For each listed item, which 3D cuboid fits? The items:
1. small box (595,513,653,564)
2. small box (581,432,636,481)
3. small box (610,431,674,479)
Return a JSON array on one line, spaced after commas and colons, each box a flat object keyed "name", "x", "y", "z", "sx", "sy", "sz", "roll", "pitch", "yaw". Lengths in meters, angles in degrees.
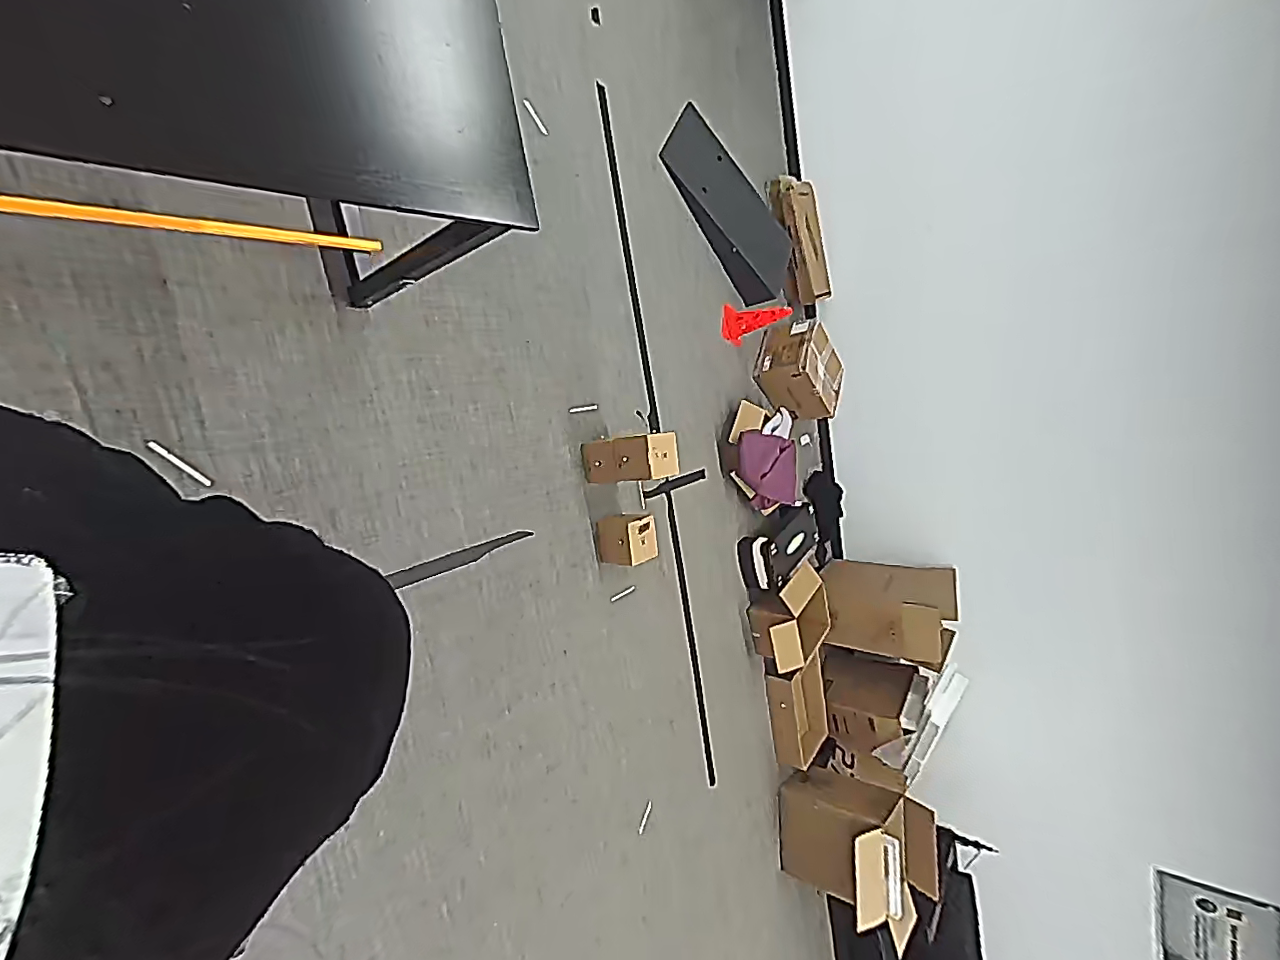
[{"name": "small box", "x": -0.069, "y": 0.234, "z": 2.217, "sx": 0.168, "sy": 0.176, "sz": 0.179, "roll": -15, "pitch": 101, "yaw": -49}, {"name": "small box", "x": -0.121, "y": -0.092, "z": 2.164, "sx": 0.179, "sy": 0.176, "sz": 0.168, "roll": -20, "pitch": 104, "yaw": -48}, {"name": "small box", "x": 0.009, "y": -0.095, "z": 2.060, "sx": 0.179, "sy": 0.176, "sz": 0.168, "roll": -12, "pitch": 97, "yaw": -50}]
